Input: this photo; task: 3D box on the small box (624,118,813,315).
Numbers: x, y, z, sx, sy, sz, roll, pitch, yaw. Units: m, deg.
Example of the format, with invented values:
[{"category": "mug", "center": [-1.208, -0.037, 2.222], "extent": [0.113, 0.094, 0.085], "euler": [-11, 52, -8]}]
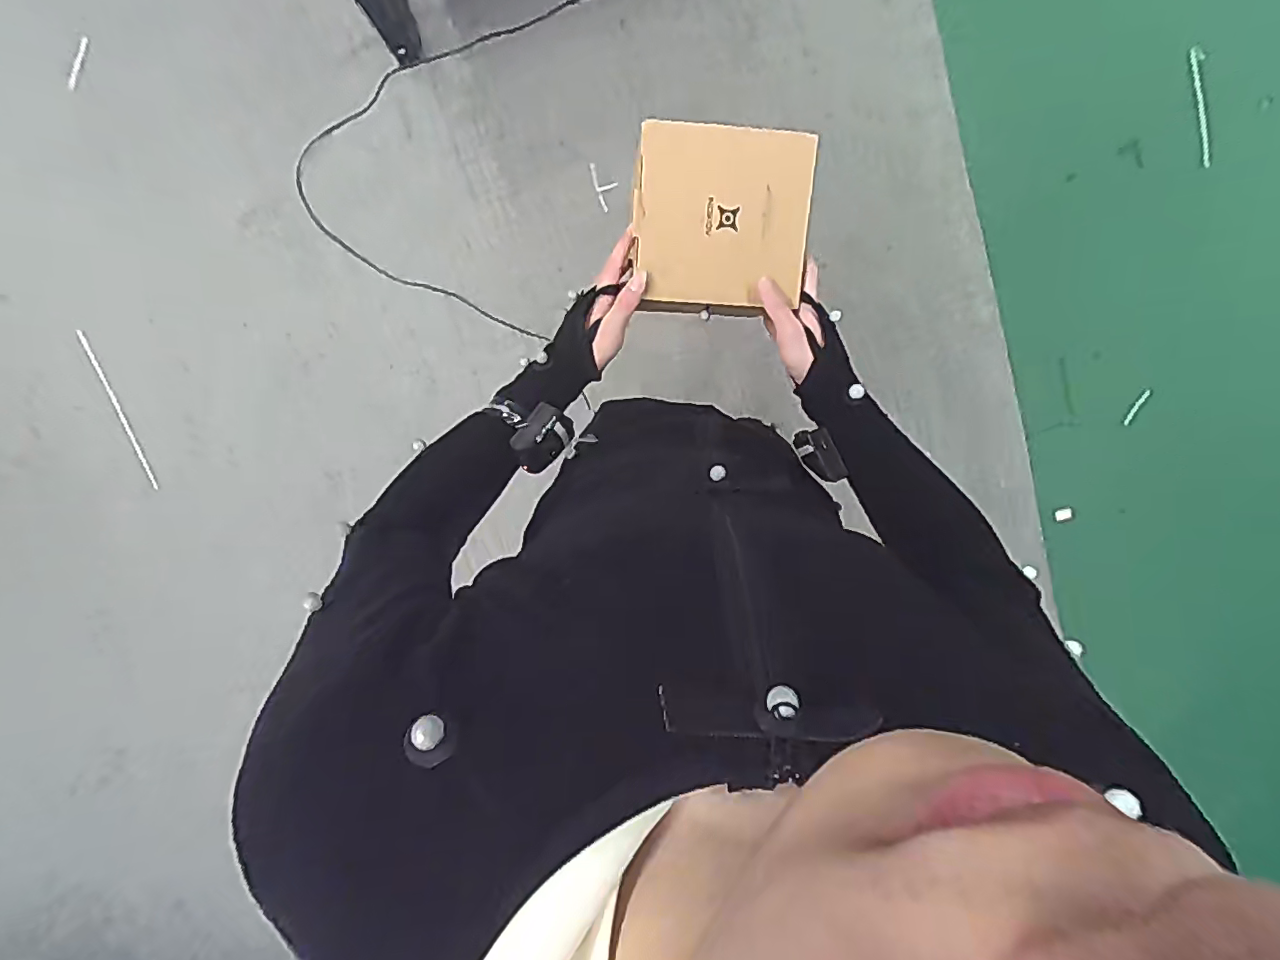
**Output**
[{"category": "small box", "center": [0.073, -0.280, 0.614], "extent": [0.179, 0.176, 0.168], "euler": [2, 104, -5]}]
